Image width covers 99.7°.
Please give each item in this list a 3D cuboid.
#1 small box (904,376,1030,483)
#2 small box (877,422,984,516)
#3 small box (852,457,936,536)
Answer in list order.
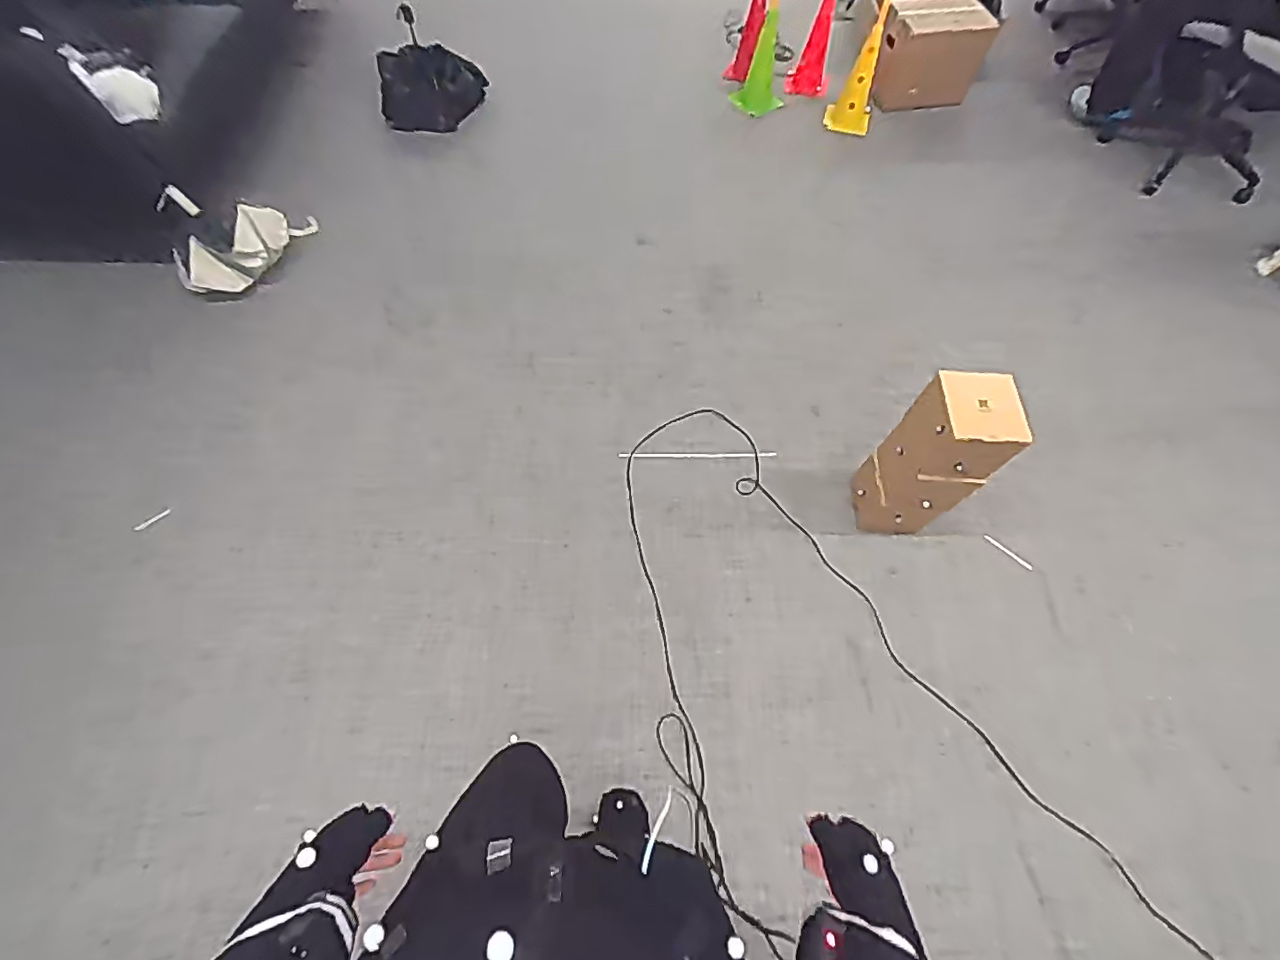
[{"bbox_3d":[0.722,-0.110,1.219,0.168,0.176,0.179,3,63,0],"label":"small box"},{"bbox_3d":[0.718,-0.027,1.359,0.168,0.176,0.179,3,63,0],"label":"small box"},{"bbox_3d":[0.707,0.049,1.505,0.179,0.176,0.168,2,63,0],"label":"small box"}]
